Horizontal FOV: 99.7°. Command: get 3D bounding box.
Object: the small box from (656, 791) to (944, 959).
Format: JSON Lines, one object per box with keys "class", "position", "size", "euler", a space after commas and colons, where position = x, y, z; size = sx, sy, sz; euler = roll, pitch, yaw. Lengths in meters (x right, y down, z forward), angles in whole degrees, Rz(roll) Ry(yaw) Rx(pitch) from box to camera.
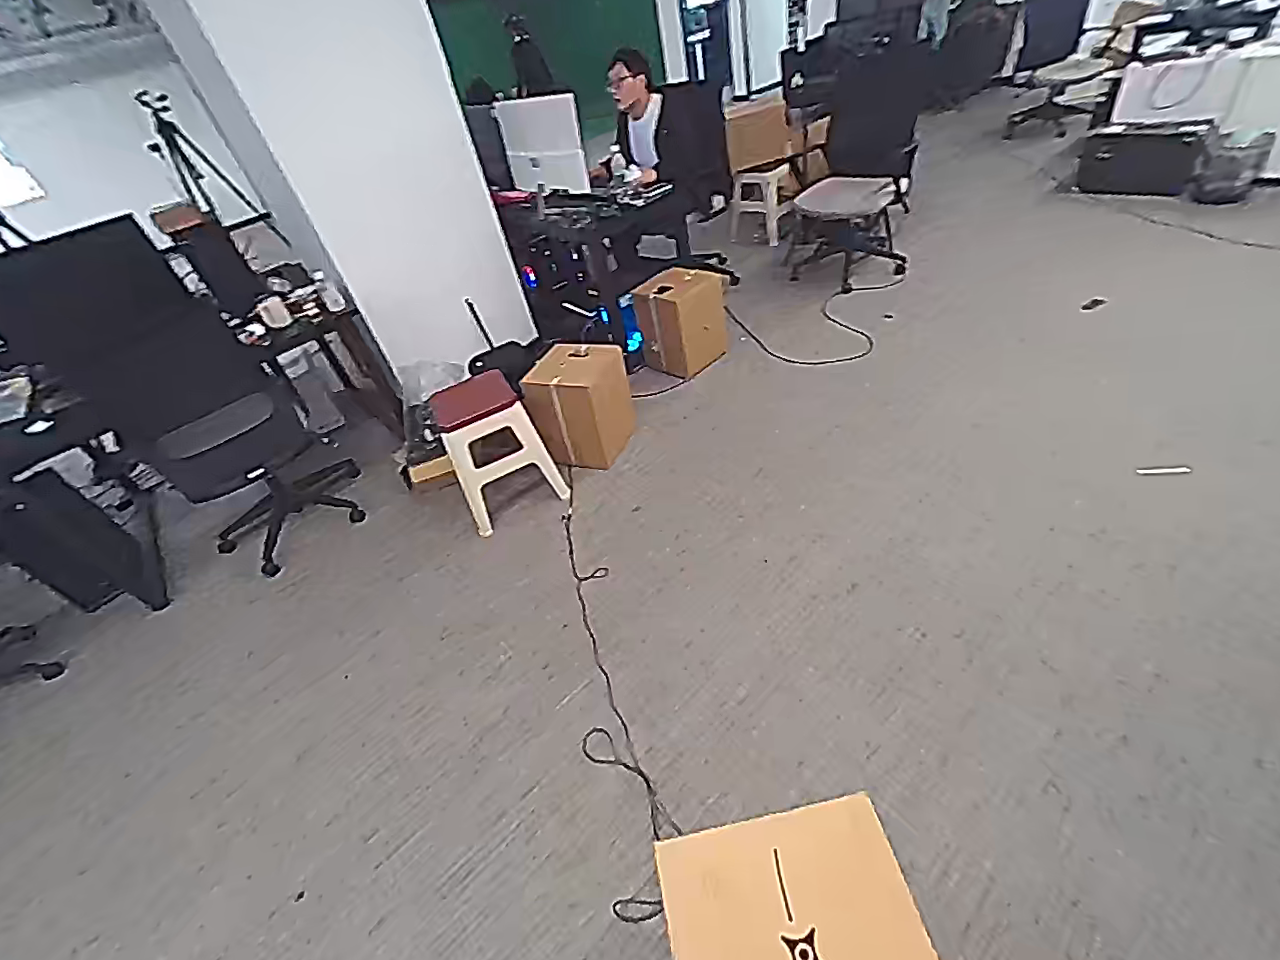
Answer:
{"class": "small box", "position": [0.112, 0.355, 0.390], "size": [0.168, 0.176, 0.179], "euler": [-11, 47, -3]}
